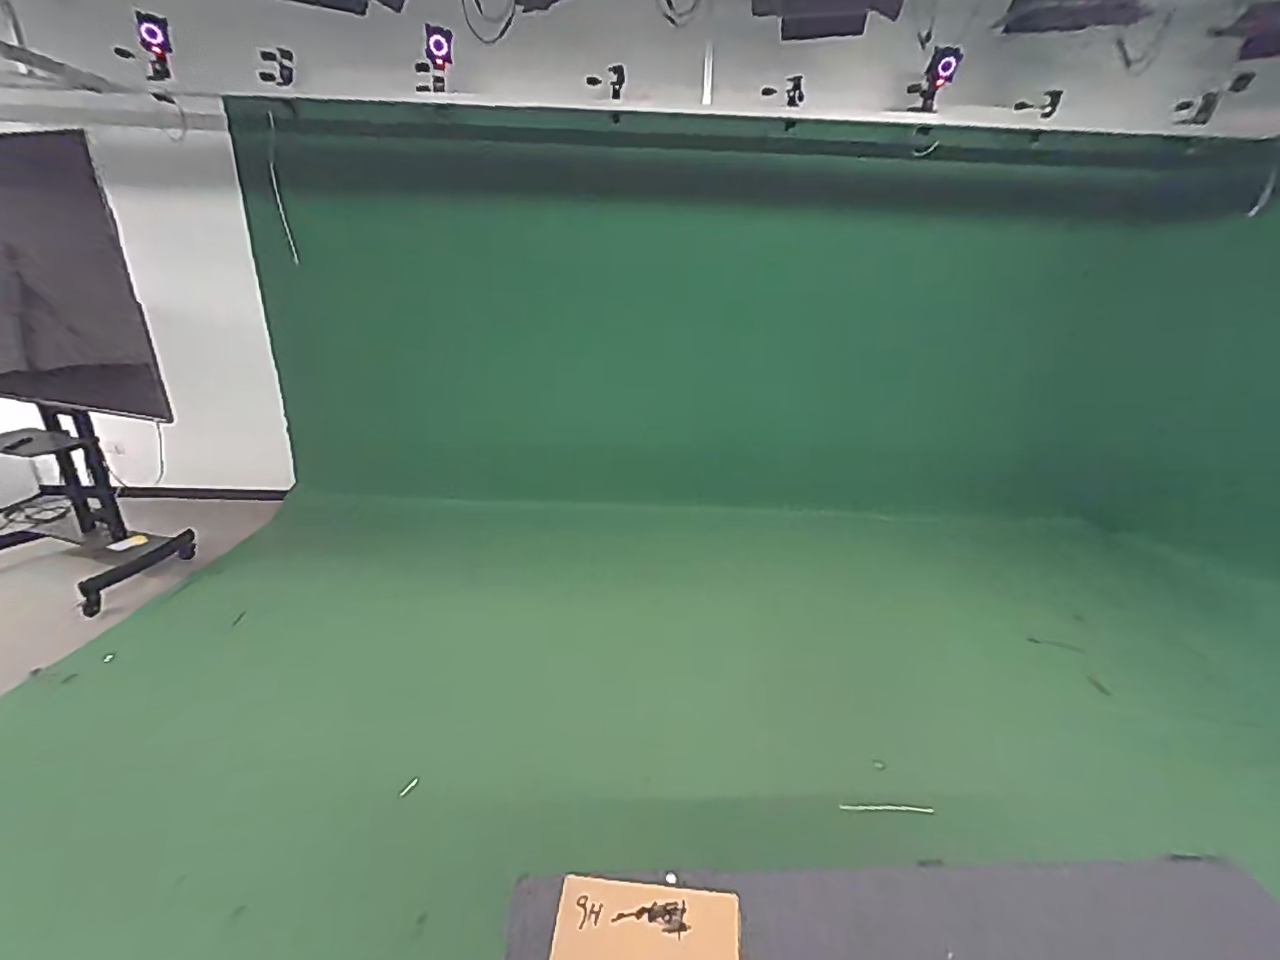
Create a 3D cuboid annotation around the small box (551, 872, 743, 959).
[{"bbox_3d":[0.011,0.490,0.494,0.168,0.176,0.179,-1,44,10],"label":"small box"}]
